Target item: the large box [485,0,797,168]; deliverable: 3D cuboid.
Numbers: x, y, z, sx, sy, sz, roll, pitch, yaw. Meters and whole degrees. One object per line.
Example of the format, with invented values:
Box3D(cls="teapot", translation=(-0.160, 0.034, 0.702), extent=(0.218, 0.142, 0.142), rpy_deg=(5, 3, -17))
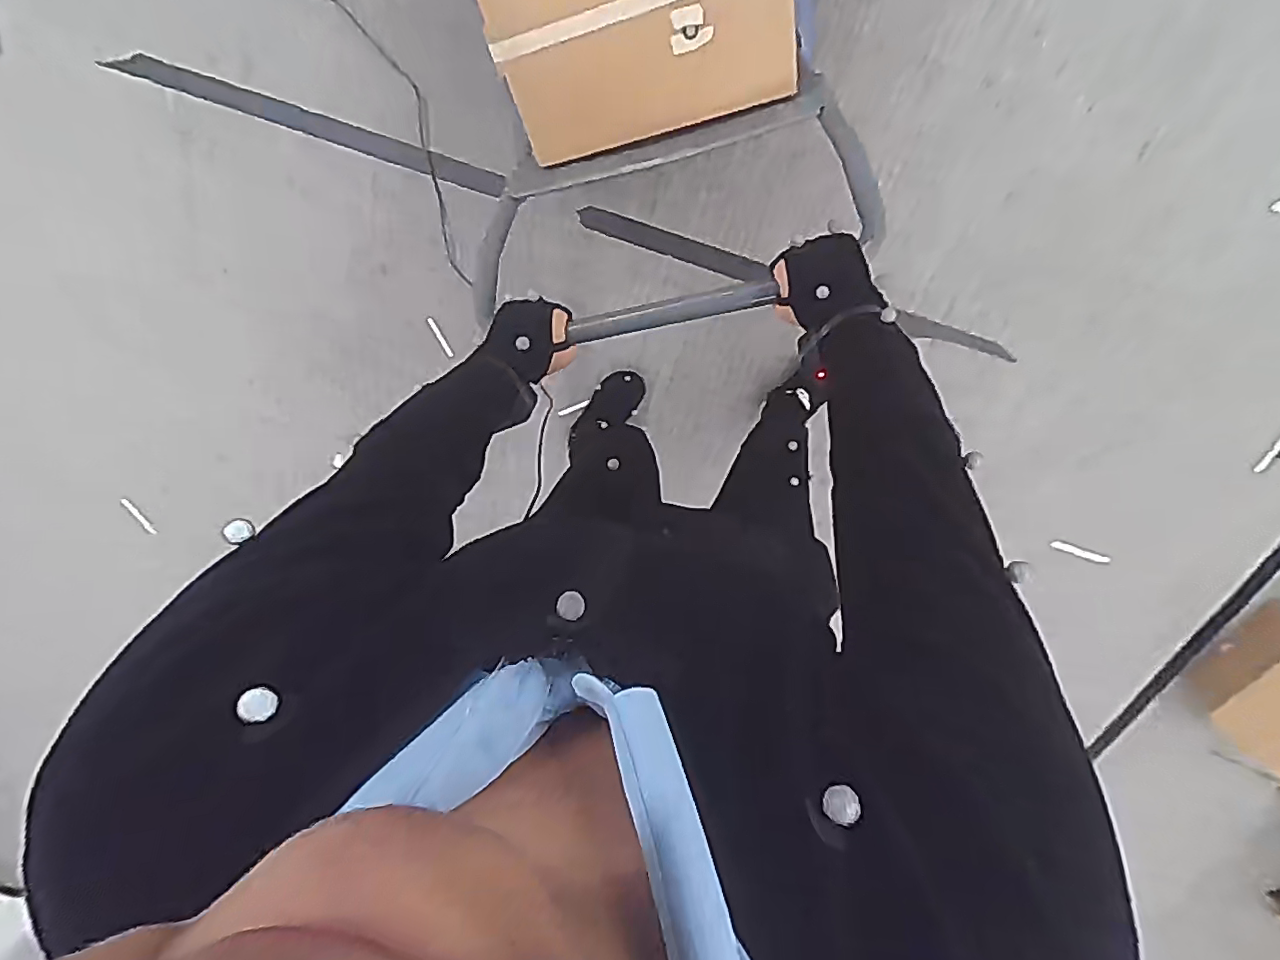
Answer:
Box3D(cls="large box", translation=(0.000, -0.747, 0.831), extent=(0.408, 0.320, 0.320), rpy_deg=(-10, 136, 12))
